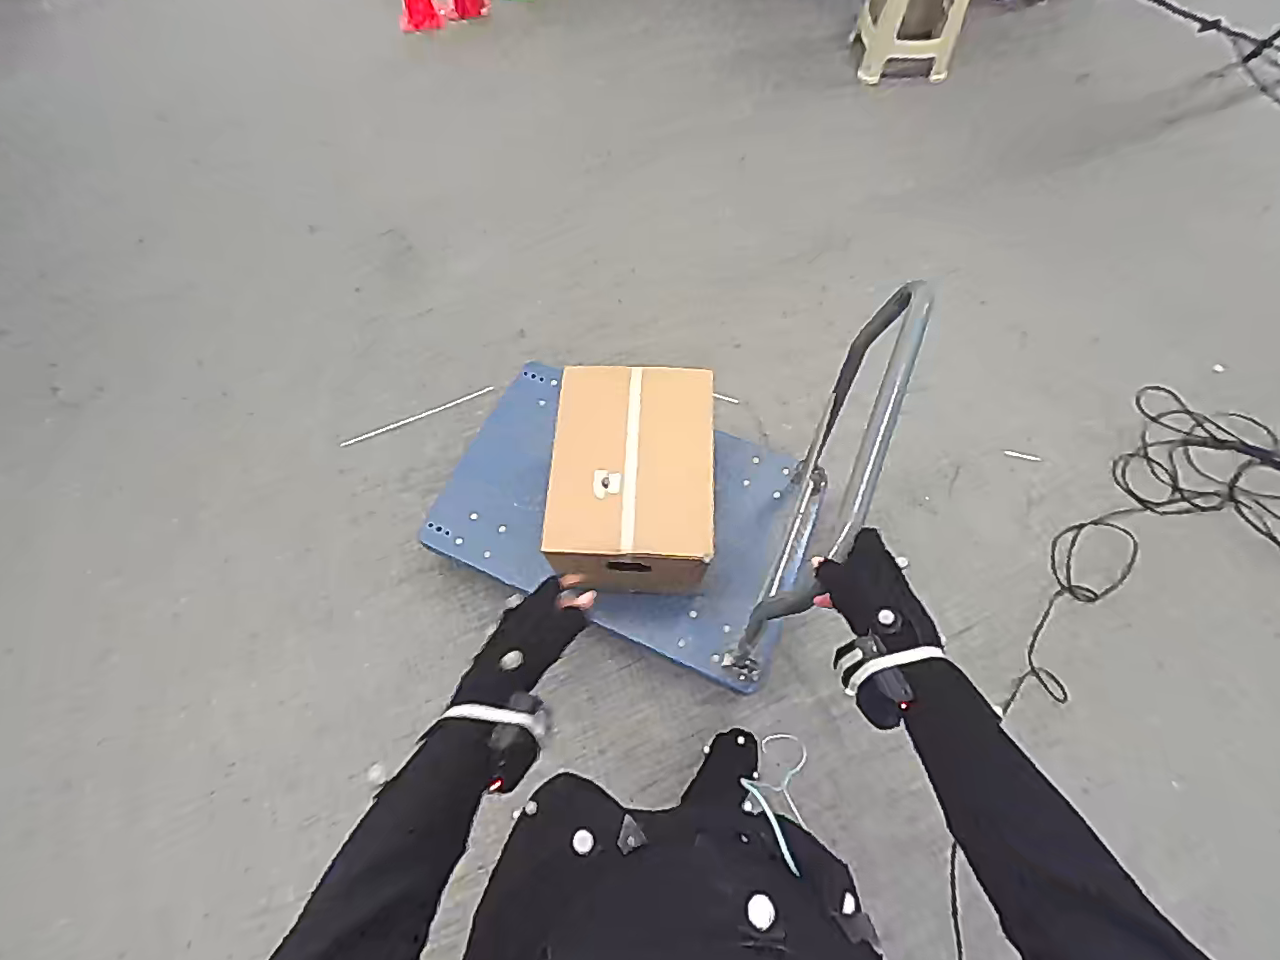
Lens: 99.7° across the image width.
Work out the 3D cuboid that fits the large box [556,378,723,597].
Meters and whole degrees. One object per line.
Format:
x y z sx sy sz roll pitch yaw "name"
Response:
0.004 0.027 1.195 0.320 0.320 0.408 1 67 3 "large box"
